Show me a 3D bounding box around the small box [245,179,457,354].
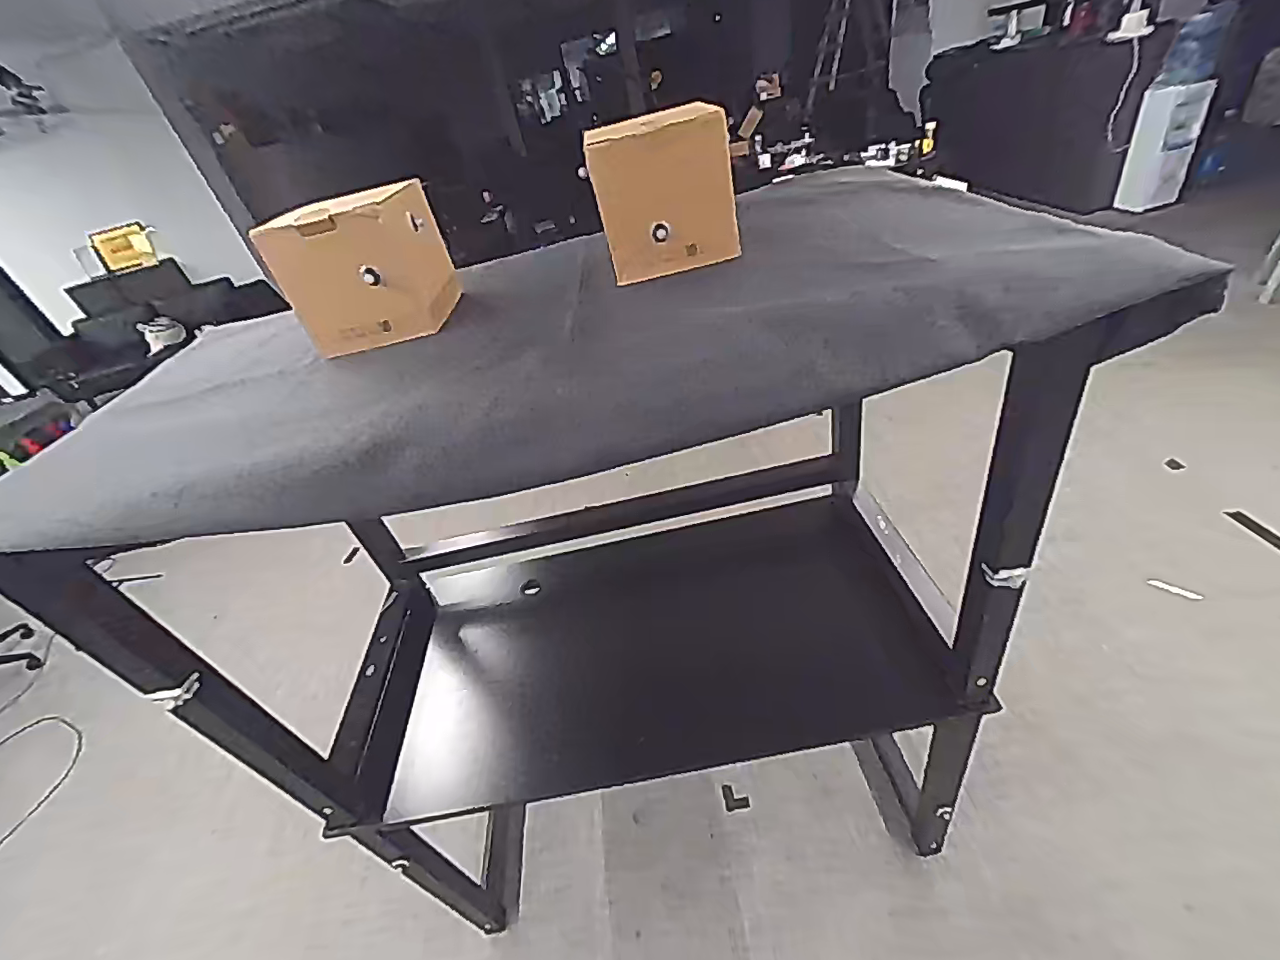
[{"bbox_3d":[-0.370,-0.285,0.737,0.168,0.176,0.179,-11,38,5],"label":"small box"}]

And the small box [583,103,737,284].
[{"bbox_3d":[0.025,-0.380,0.720,0.168,0.176,0.179,-13,38,4],"label":"small box"}]
